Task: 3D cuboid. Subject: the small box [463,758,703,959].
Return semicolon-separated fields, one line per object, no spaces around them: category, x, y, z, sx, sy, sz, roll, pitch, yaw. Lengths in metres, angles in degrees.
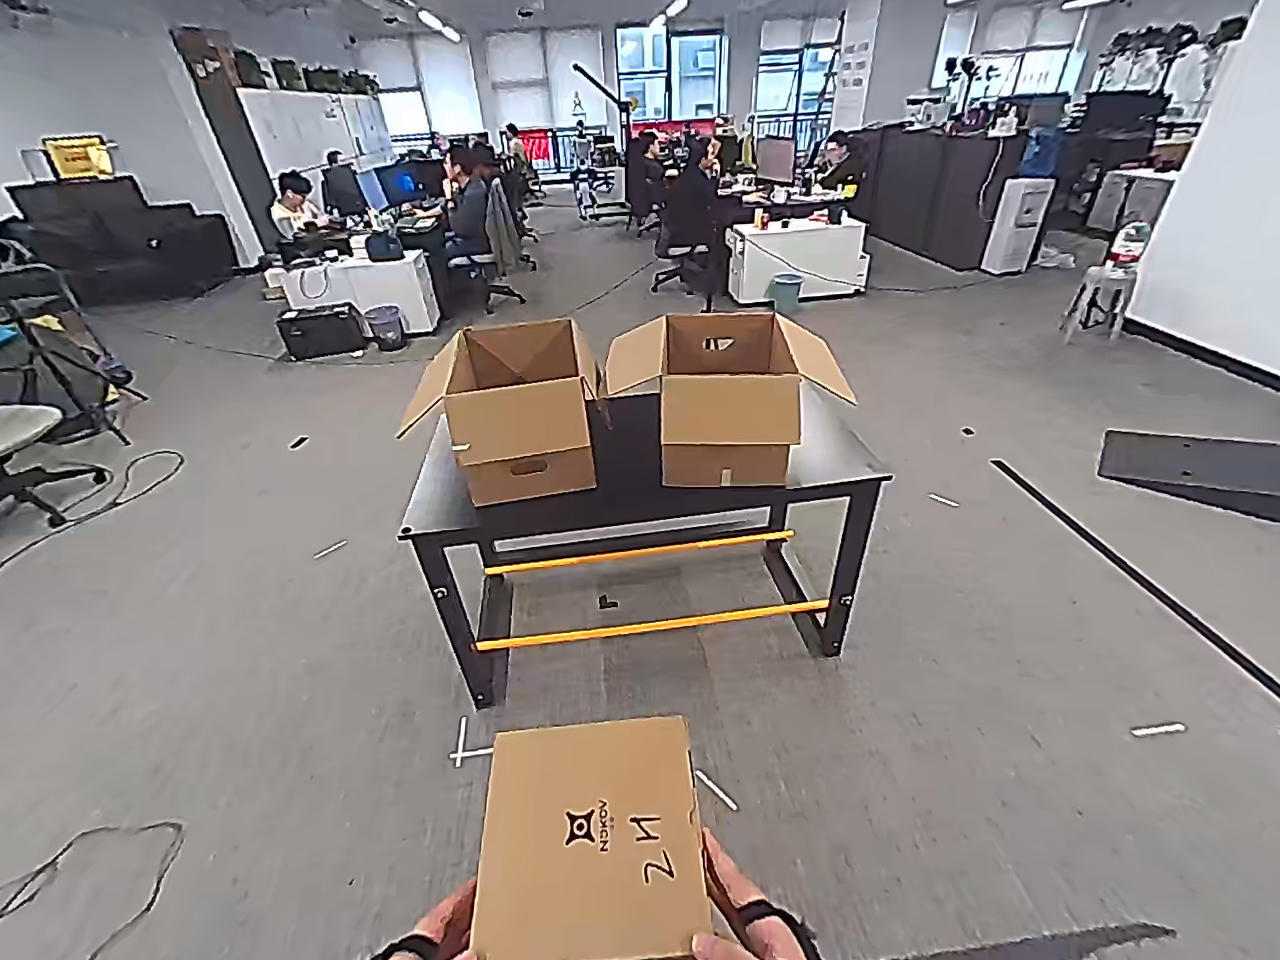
small box;-0.039;0.367;0.474;0.179;0.176;0.168;-5;44;0
